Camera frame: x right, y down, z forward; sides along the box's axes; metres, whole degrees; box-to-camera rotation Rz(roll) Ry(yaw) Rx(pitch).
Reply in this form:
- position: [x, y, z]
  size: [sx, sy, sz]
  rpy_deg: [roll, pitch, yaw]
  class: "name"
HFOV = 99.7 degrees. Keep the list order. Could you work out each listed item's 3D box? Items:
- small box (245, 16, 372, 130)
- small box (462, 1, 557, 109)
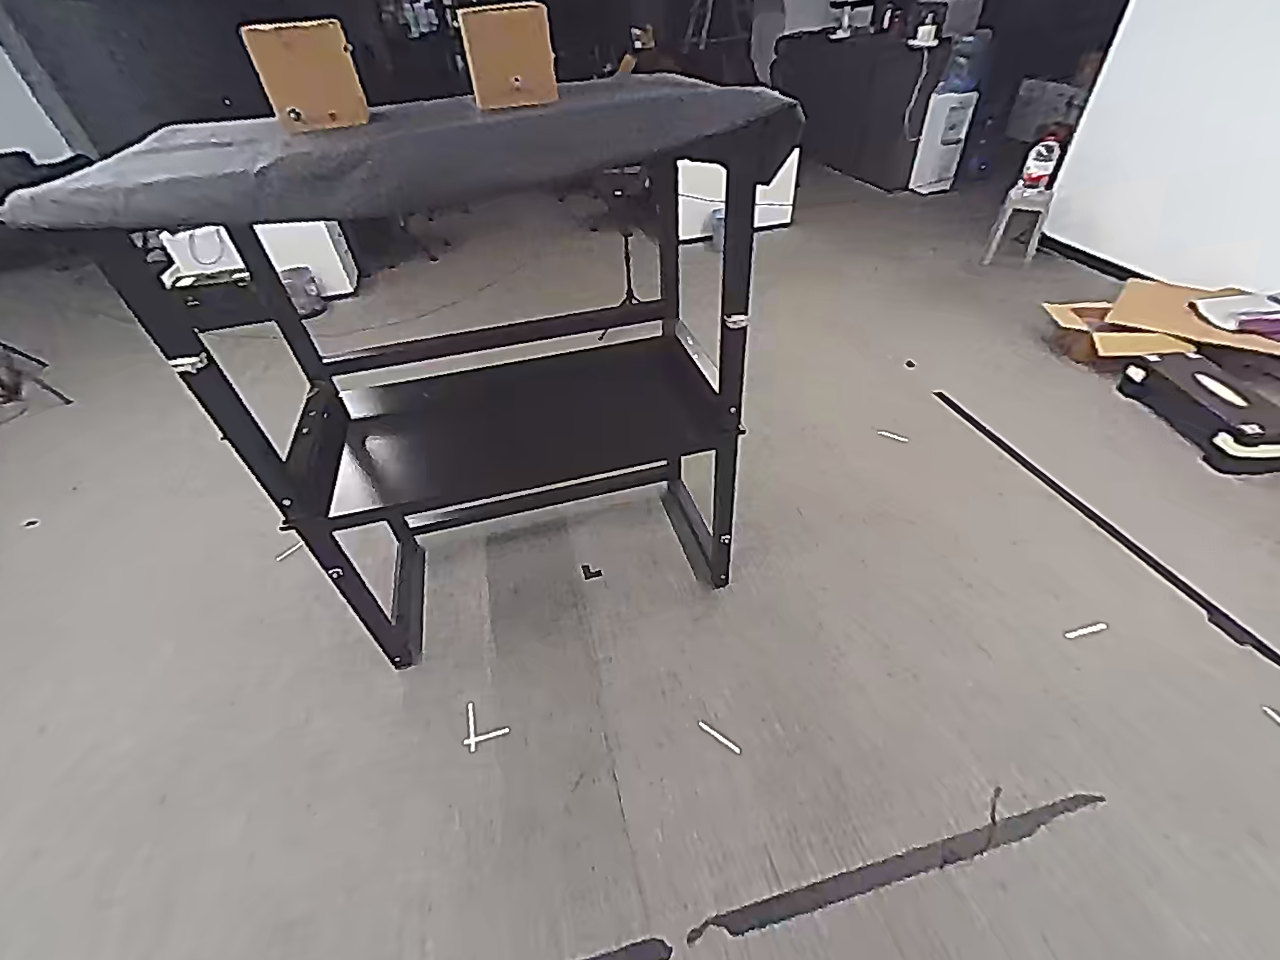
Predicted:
- position: [-0.674, -0.843, 1.123]
  size: [0.168, 0.176, 0.179]
  rpy_deg: [-15, 43, -11]
  class: "small box"
- position: [-0.283, -0.939, 1.193]
  size: [0.179, 0.176, 0.168]
  rpy_deg: [-13, 43, -9]
  class: "small box"
